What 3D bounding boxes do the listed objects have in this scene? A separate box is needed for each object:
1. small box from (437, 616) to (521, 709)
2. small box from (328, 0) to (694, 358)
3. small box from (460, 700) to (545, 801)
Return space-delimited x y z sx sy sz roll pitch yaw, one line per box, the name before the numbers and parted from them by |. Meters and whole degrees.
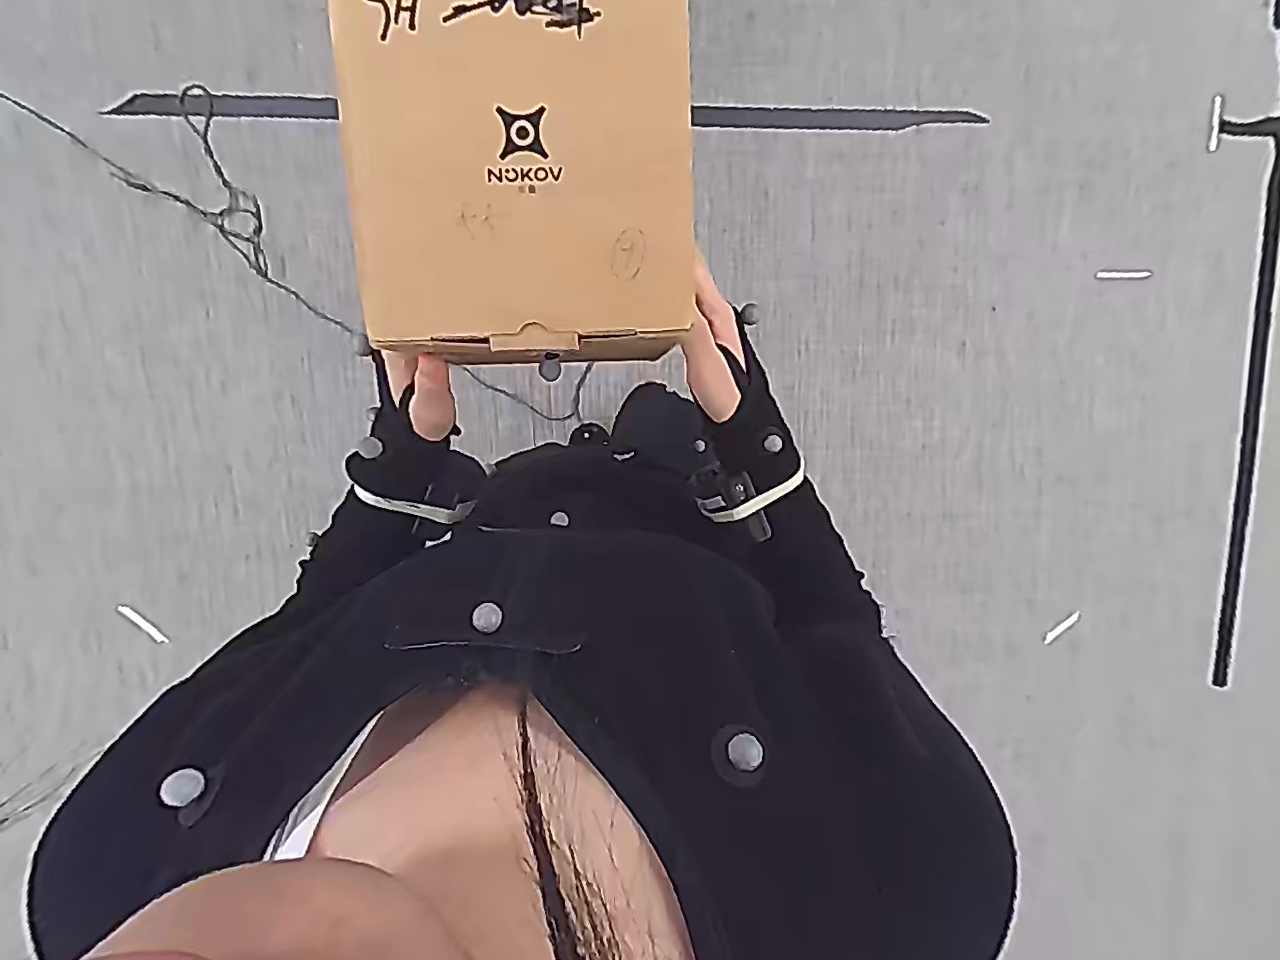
small box | -0.416 0.469 1.422 0.168 0.176 0.179 -7 98 -3
small box | -0.060 -0.167 0.332 0.168 0.176 0.179 -3 99 -4
small box | -0.363 0.721 1.456 0.179 0.176 0.168 -8 99 -2
